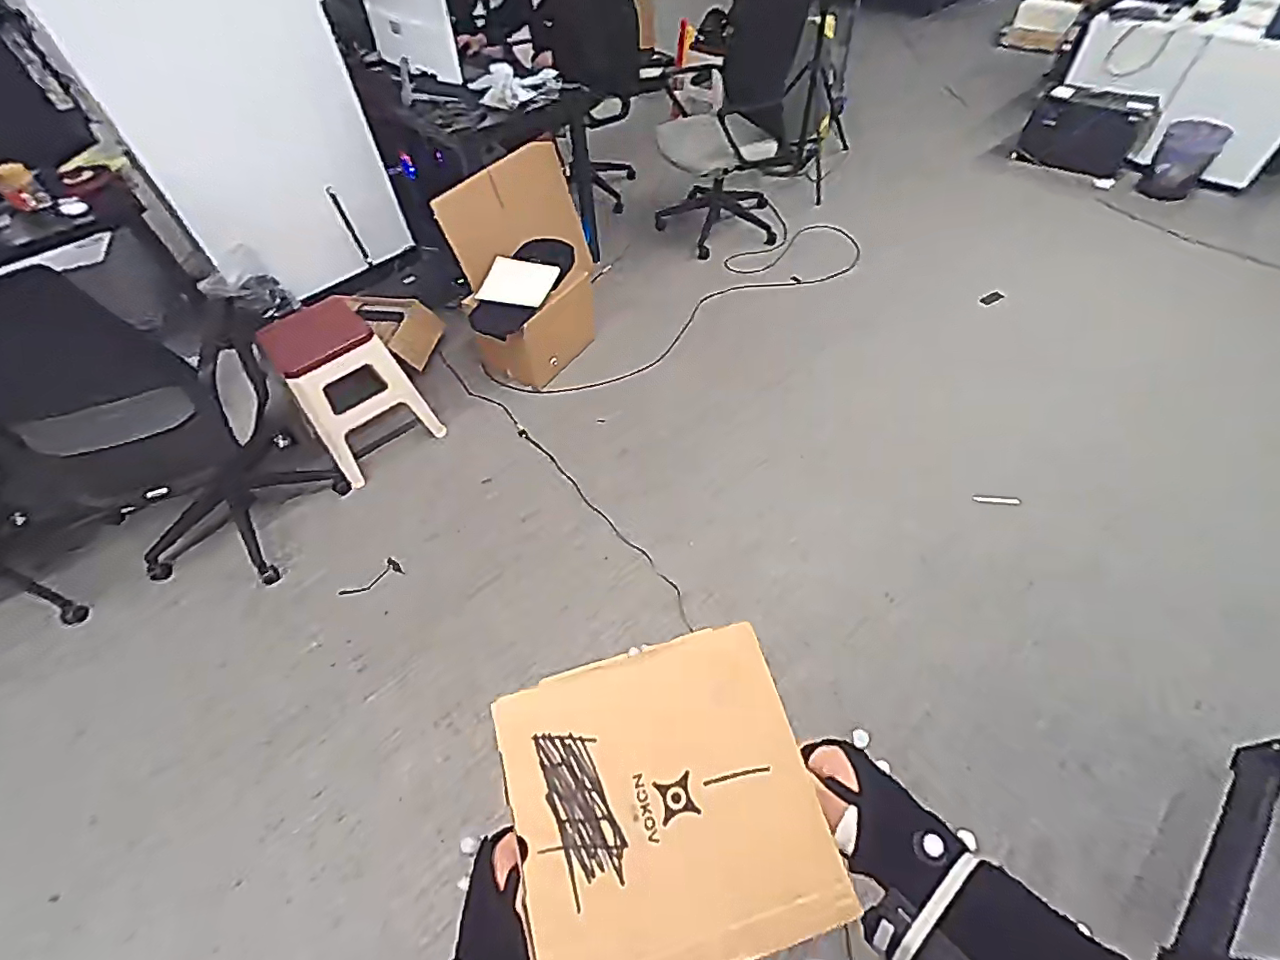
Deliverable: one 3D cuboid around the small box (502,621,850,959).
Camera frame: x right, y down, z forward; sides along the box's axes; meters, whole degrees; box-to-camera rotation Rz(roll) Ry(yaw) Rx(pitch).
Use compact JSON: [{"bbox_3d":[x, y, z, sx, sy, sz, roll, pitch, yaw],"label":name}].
[{"bbox_3d":[0.017,0.221,0.396,0.179,0.176,0.168,-15,65,-6],"label":"small box"}]
